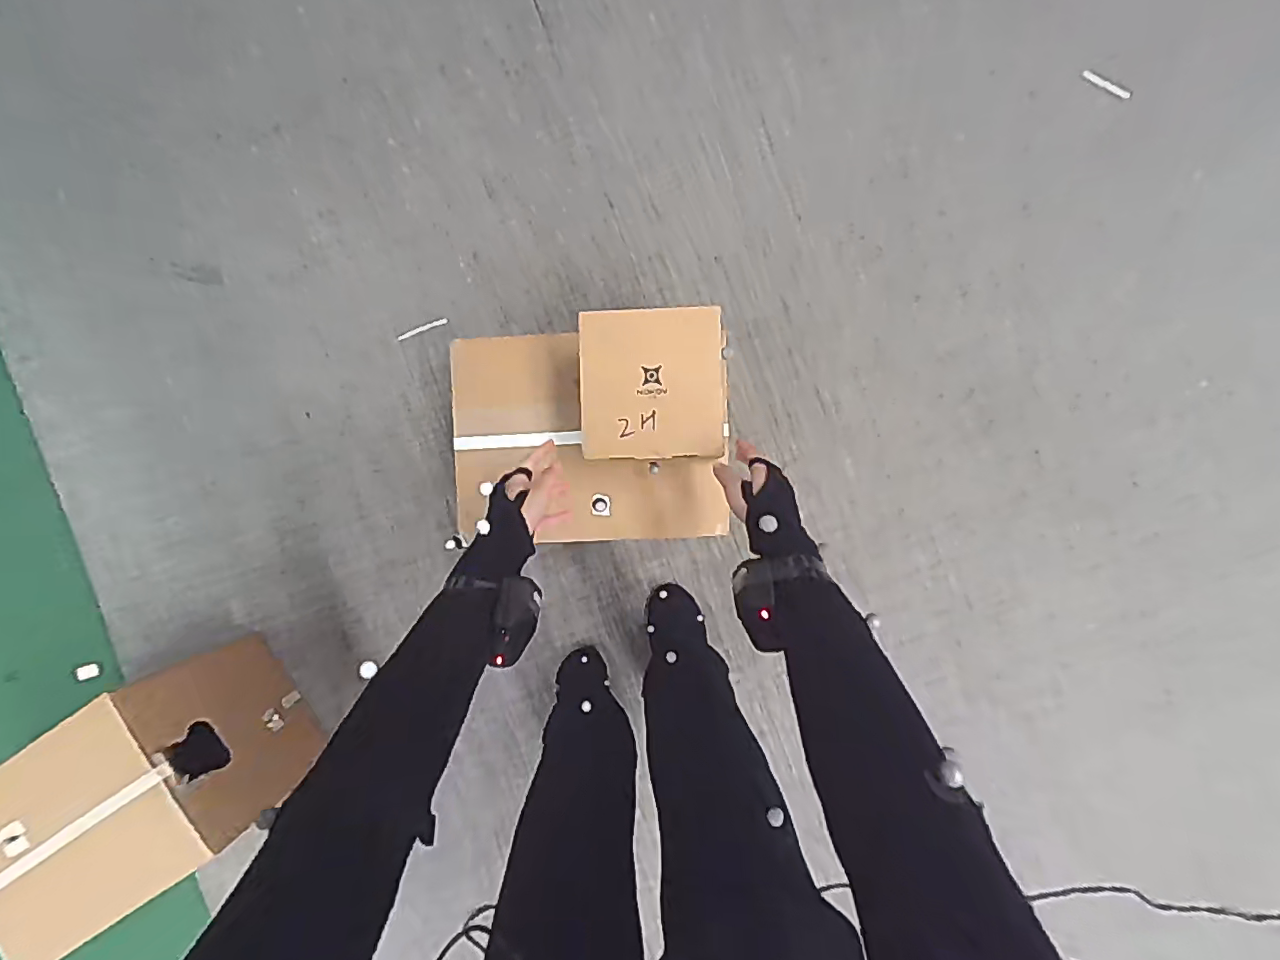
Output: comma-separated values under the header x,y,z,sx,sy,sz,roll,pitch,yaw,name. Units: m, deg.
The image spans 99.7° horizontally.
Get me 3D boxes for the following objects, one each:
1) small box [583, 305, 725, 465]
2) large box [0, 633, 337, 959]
x,y,z,sx,sy,sz,roll,pitch,yaw,name
0.019,-0.112,0.701,0.168,0.176,0.179,-1,90,3,small box
-0.886,0.558,1.007,0.408,0.320,0.320,-34,88,4,large box
